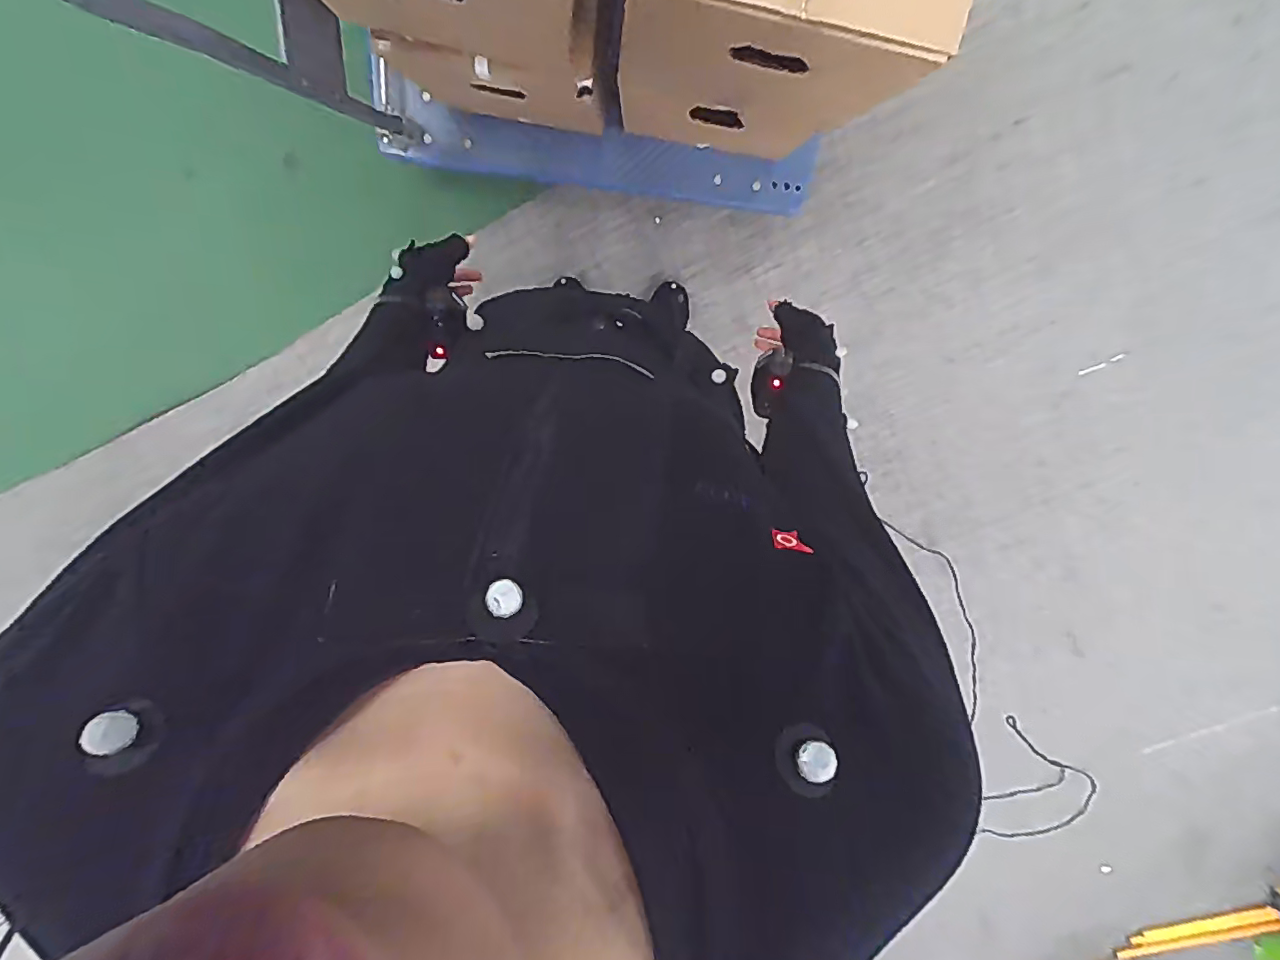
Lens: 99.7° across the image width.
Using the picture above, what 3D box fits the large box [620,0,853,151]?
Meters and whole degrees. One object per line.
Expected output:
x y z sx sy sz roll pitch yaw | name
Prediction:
0.149 -0.788 0.846 0.320 0.320 0.408 8 114 -2 | large box
